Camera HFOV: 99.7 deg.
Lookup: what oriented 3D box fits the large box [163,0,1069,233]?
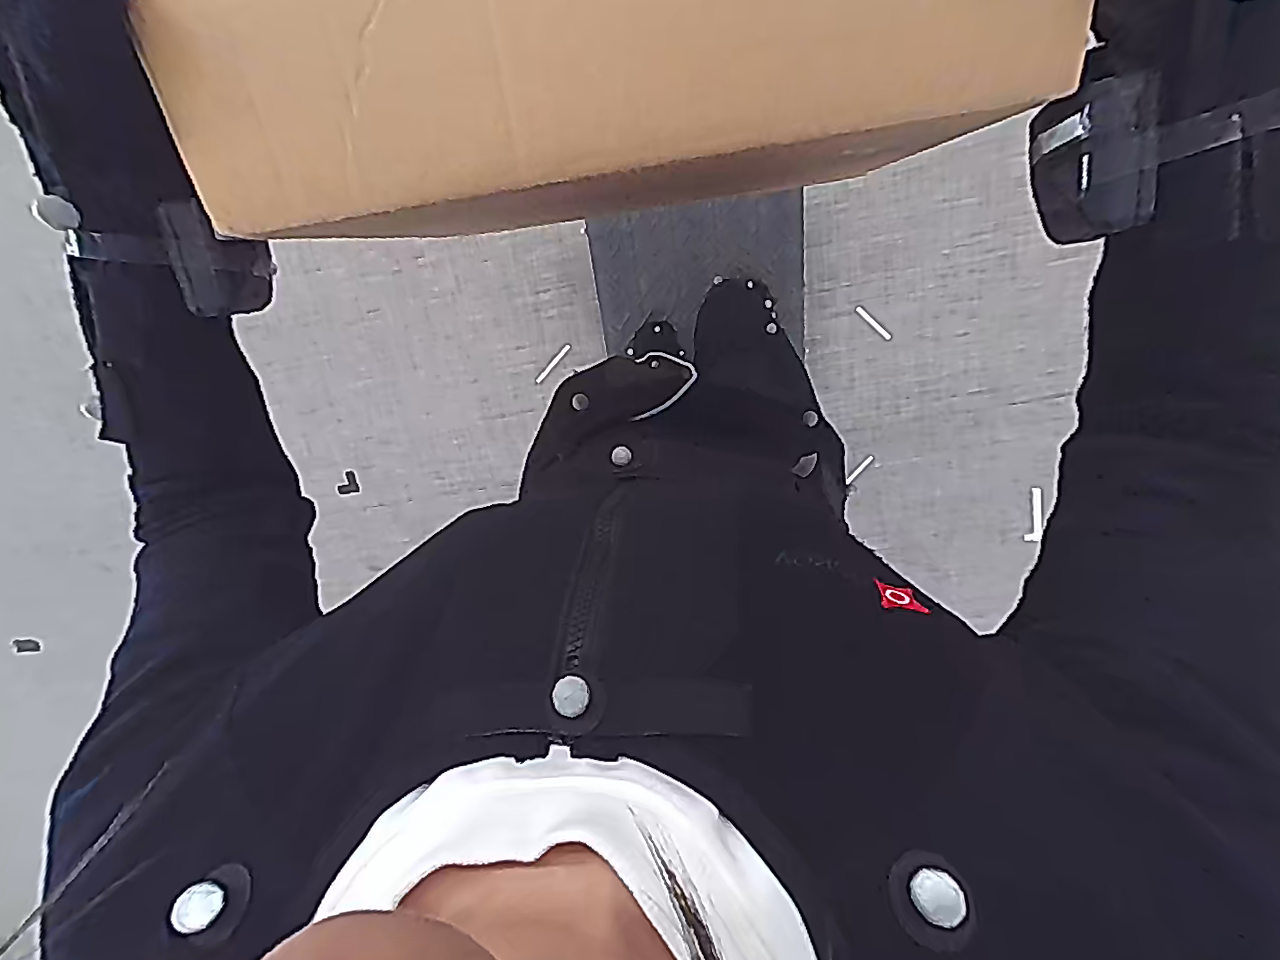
[{"bbox_3d":[-0.024,-0.356,0.340,0.408,0.320,0.320,-6,114,7],"label":"large box"}]
